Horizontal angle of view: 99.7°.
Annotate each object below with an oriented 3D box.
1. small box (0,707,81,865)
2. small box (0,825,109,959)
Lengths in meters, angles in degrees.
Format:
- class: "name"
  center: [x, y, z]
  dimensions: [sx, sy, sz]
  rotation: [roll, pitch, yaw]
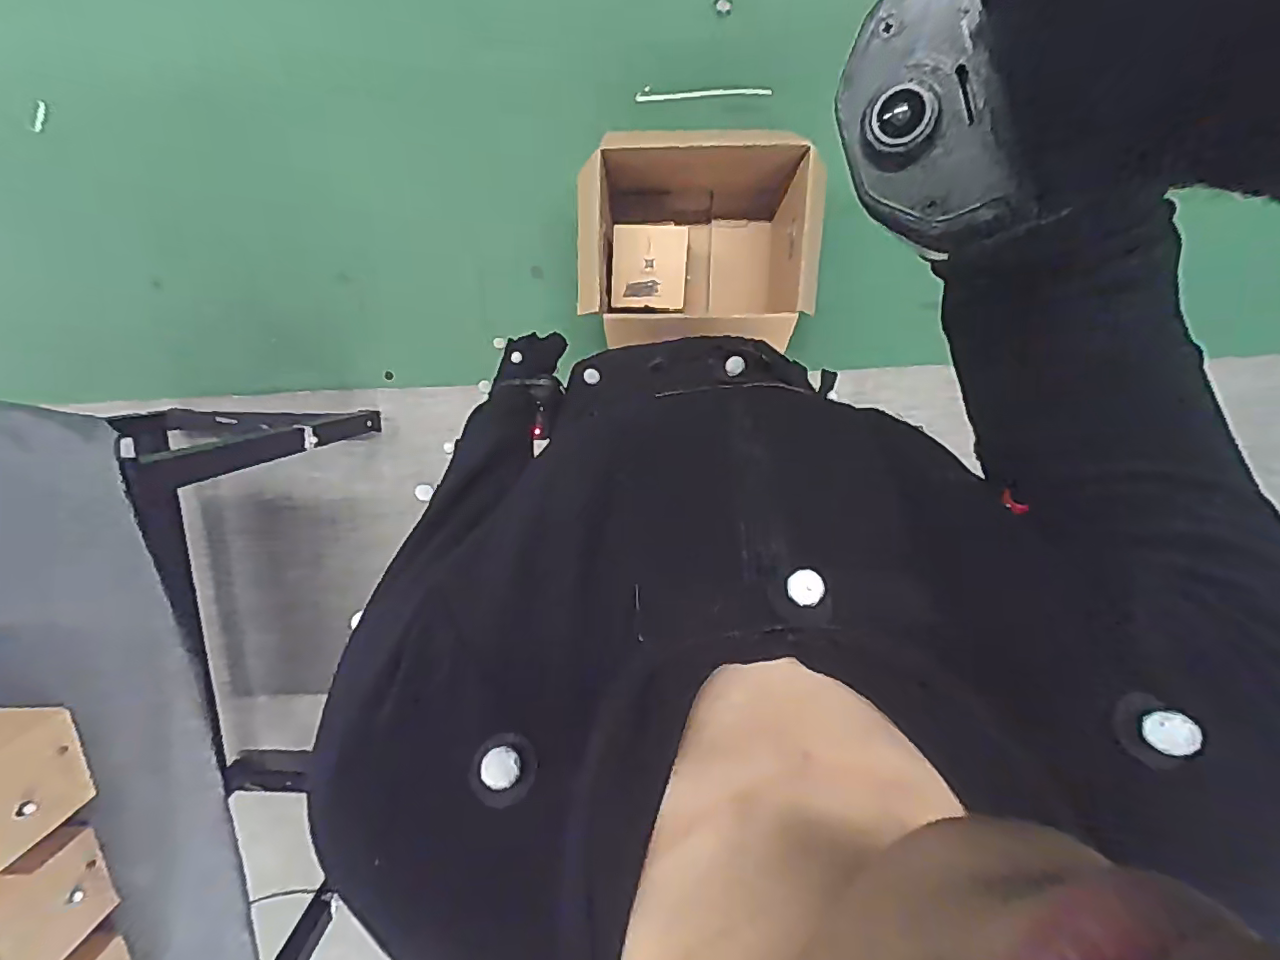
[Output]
- class: "small box"
  center: [-0.979, 0.450, 0.785]
  dimensions: [0.179, 0.176, 0.168]
  rotation: [-2, 103, 3]
- class: "small box"
  center: [-0.998, 0.668, 0.834]
  dimensions: [0.179, 0.176, 0.168]
  rotation: [-3, 103, 2]
